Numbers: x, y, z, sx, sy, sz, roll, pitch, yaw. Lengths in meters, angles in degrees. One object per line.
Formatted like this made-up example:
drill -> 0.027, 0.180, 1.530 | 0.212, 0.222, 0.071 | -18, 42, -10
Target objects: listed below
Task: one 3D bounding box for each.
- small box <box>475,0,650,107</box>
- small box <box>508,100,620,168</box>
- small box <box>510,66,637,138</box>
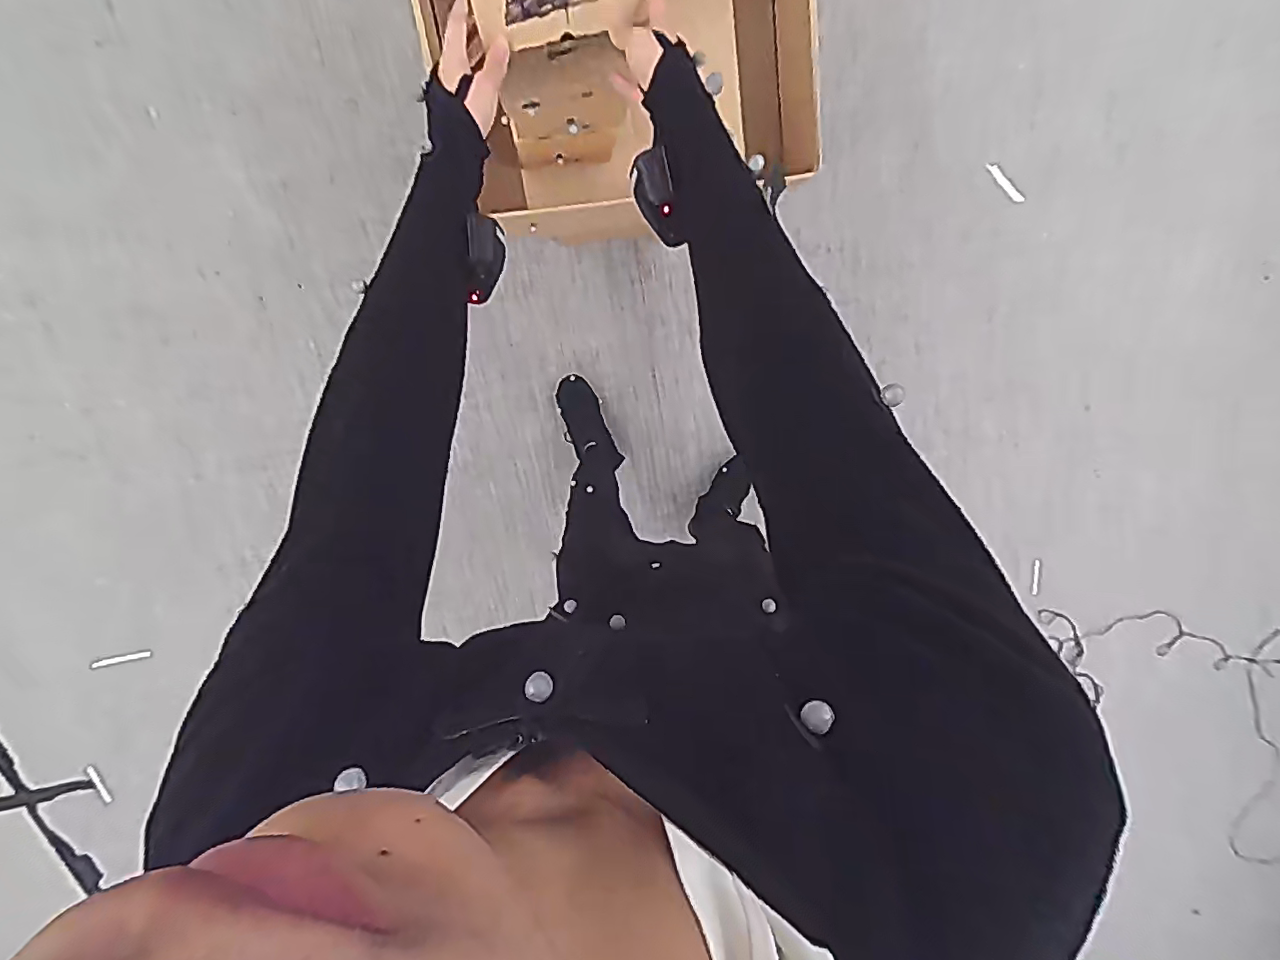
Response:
small box -> -0.094, -0.530, 0.579 | 0.168, 0.176, 0.179 | -14, 108, -4
small box -> -0.135, -0.638, 0.887 | 0.168, 0.176, 0.179 | -11, 108, -5
small box -> -0.107, -0.595, 0.731 | 0.168, 0.176, 0.179 | -11, 109, -5
